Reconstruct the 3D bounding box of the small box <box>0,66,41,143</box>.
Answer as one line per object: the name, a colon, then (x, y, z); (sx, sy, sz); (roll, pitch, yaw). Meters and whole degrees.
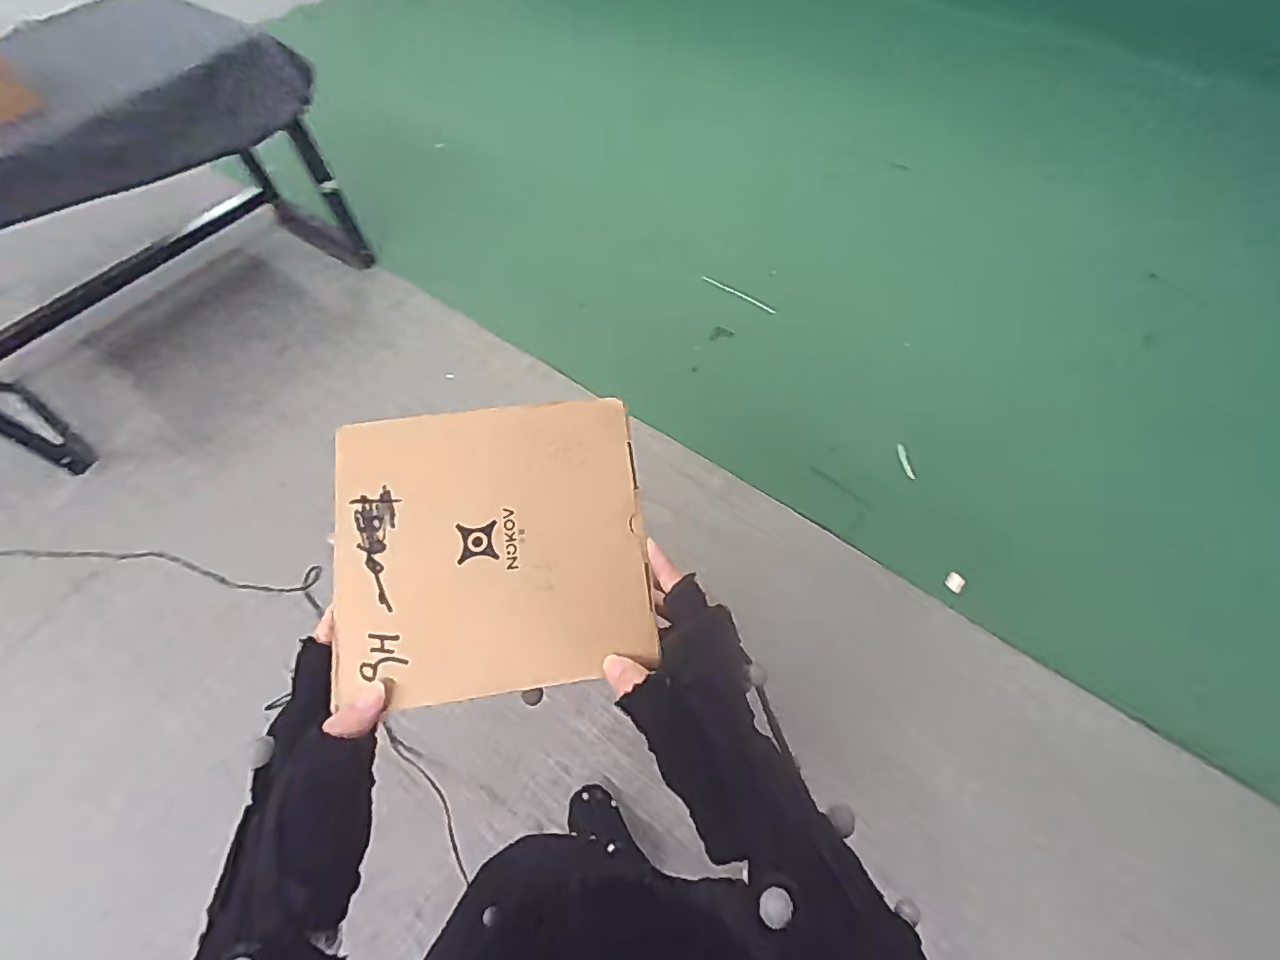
small box: (-1.526, -0.878, 1.215); (0.168, 0.176, 0.179); (30, 66, 19)
